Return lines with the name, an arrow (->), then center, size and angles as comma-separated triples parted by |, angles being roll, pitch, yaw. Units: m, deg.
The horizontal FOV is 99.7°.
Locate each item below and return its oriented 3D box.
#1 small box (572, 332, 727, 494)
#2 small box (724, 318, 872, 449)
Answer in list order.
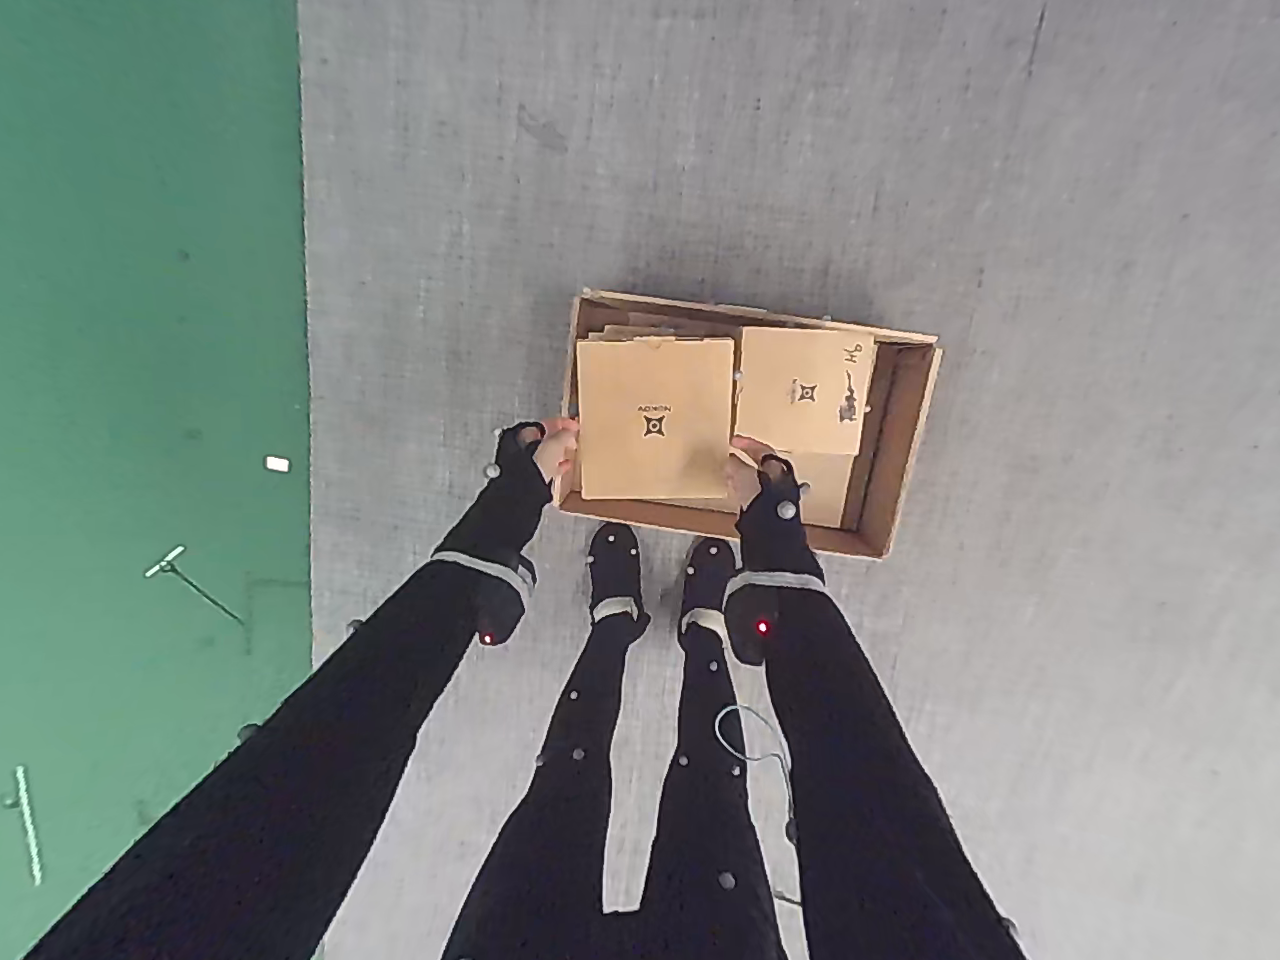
small box -> 0.014, -0.089, 0.660 | 0.168, 0.176, 0.179 | 0, 104, 3
small box -> 0.219, -0.145, 0.801 | 0.179, 0.176, 0.168 | 4, 103, 5
